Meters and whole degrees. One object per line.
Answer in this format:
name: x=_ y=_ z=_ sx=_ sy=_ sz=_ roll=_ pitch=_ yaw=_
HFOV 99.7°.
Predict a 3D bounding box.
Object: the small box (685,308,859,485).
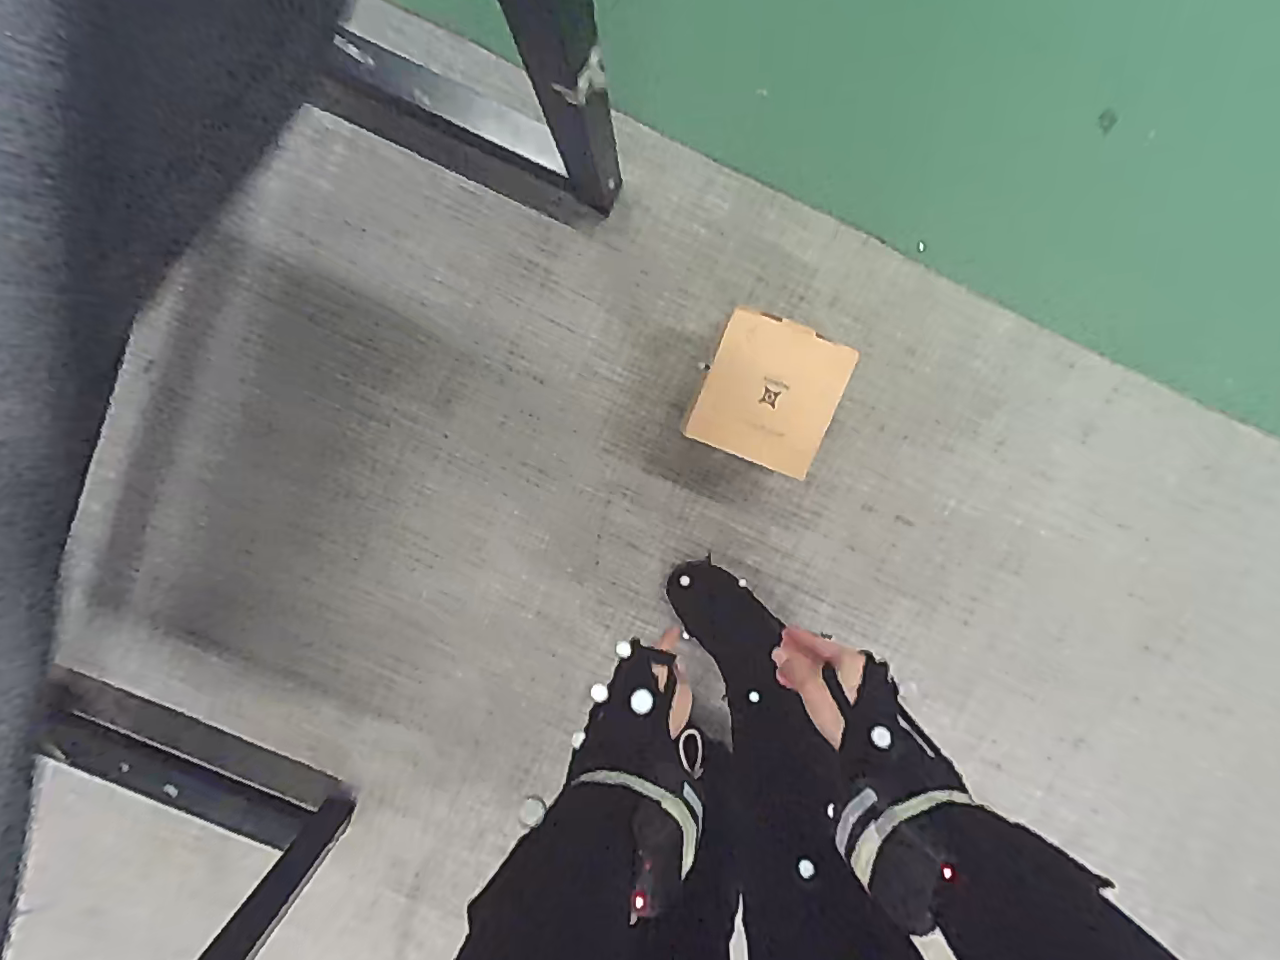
small box: x=0.167 y=-0.114 z=0.753 sx=0.168 sy=0.176 sz=0.179 roll=22 pitch=99 yaw=-1
